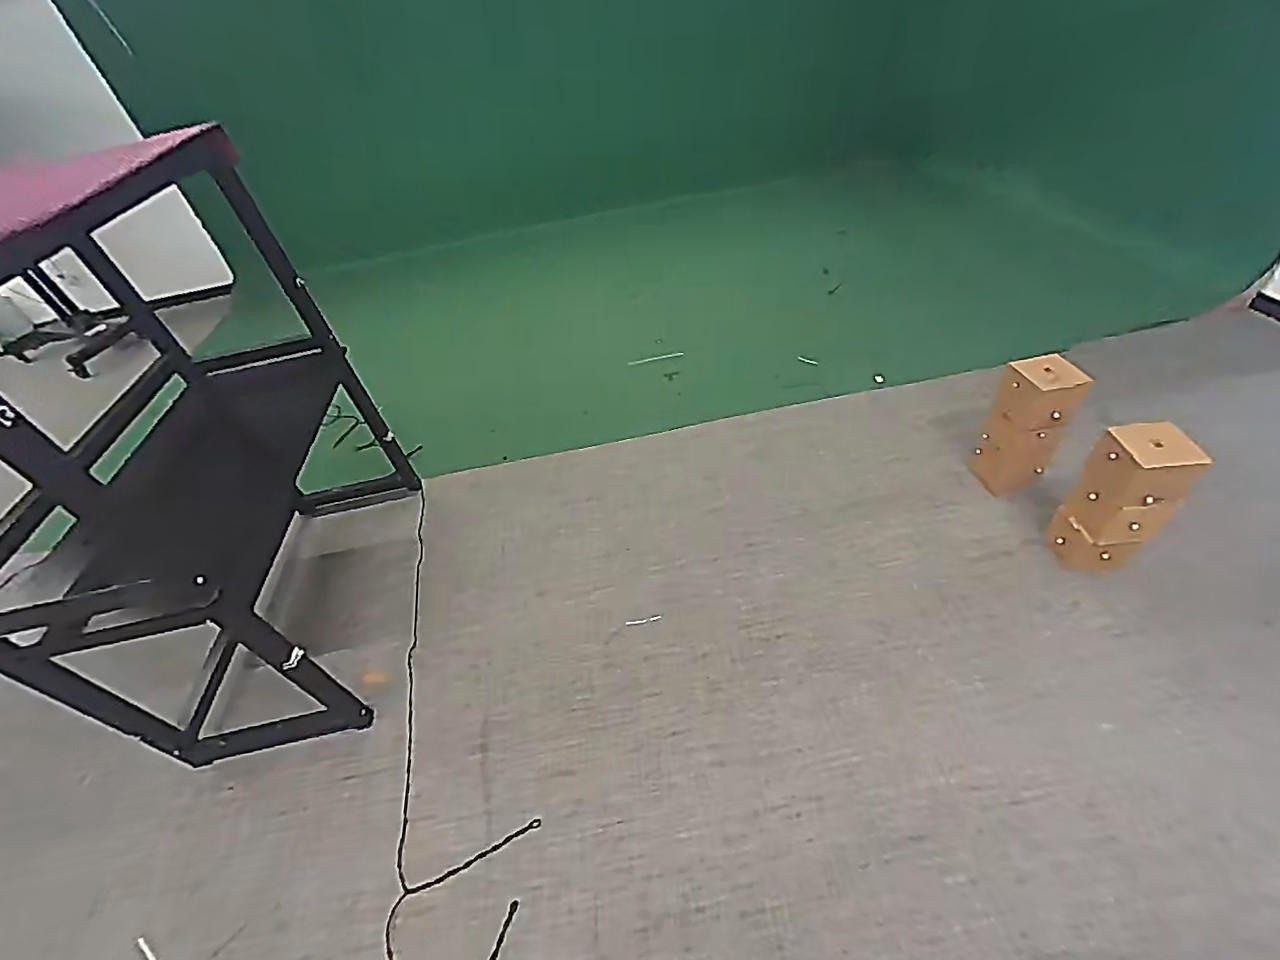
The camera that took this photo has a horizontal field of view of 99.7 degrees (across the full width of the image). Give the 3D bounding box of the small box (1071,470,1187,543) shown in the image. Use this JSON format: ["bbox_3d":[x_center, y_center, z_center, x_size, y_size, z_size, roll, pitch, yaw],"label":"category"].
[{"bbox_3d":[1.472,0.077,1.642,0.168,0.176,0.179,-7,44,5],"label":"small box"}]

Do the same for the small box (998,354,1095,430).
[{"bbox_3d":[1.347,-0.292,1.809,0.168,0.176,0.179,-12,44,0],"label":"small box"}]

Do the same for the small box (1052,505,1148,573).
[{"bbox_3d":[1.488,0.188,1.761,0.179,0.176,0.168,-7,44,7],"label":"small box"}]

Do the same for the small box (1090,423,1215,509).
[{"bbox_3d":[1.437,-0.039,1.534,0.168,0.176,0.179,-5,44,9],"label":"small box"}]

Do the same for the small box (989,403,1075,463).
[{"bbox_3d":[1.382,-0.182,1.927,0.179,0.176,0.168,-12,44,-2],"label":"small box"}]
